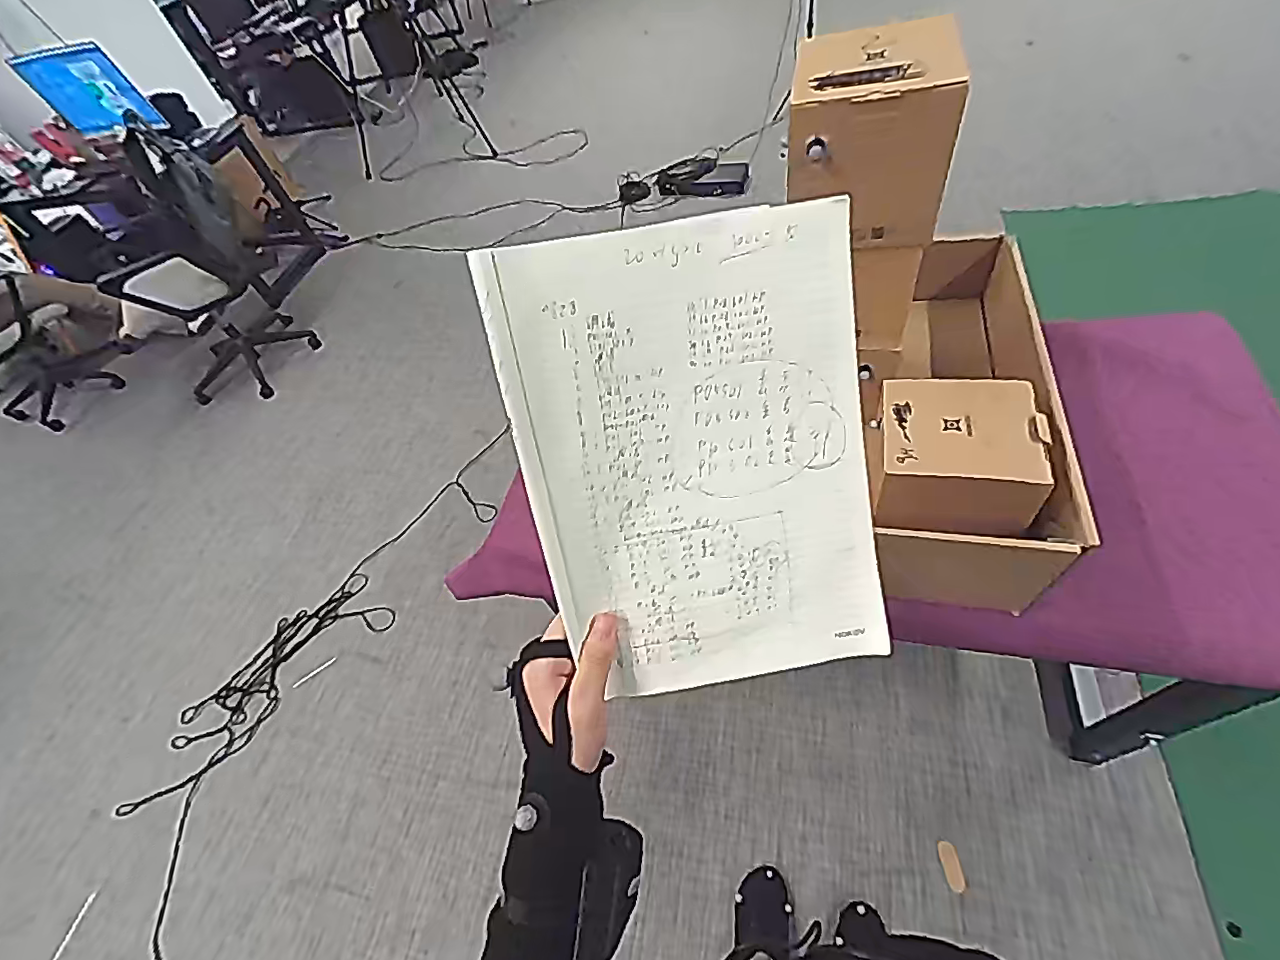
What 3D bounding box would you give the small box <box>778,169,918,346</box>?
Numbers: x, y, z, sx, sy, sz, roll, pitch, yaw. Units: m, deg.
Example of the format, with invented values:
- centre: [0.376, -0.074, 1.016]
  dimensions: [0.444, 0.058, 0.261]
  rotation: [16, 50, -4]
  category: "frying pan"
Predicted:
- centre: [0.293, -0.309, 0.773]
  dimensions: [0.168, 0.176, 0.179]
  rotation: [6, 57, 18]
  category: "small box"
